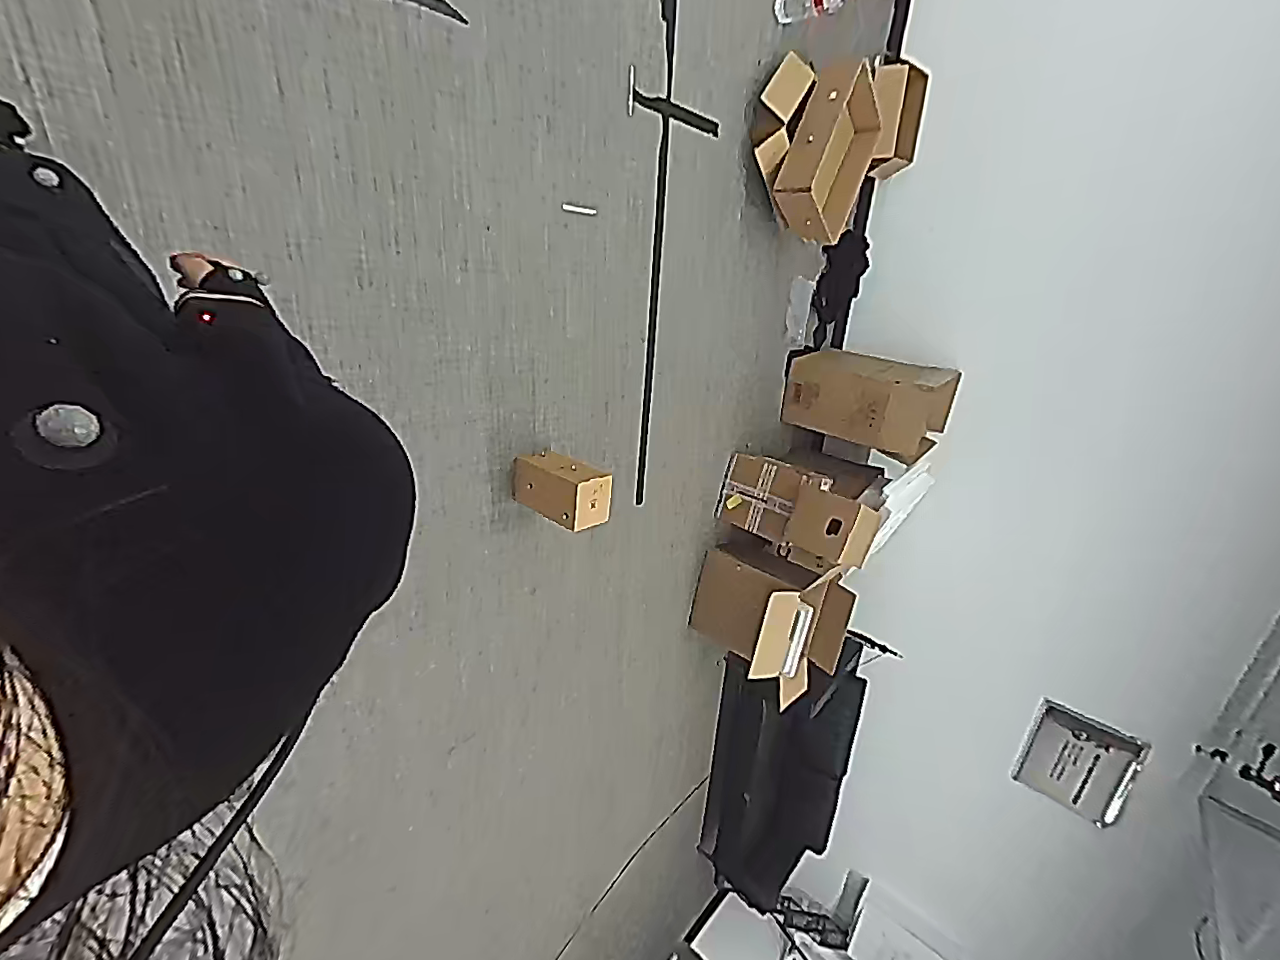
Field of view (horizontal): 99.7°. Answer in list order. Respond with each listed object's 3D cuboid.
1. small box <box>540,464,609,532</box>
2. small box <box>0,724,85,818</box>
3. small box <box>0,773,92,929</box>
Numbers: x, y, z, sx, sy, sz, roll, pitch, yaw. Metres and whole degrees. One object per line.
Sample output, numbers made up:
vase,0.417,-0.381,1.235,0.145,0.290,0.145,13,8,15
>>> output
small box,-0.231,0.057,1.865,0.168,0.176,0.179,-16,118,-48
small box,-1.287,0.634,1.102,0.168,0.176,0.179,-24,126,-42
small box,-1.168,0.684,1.000,0.168,0.176,0.179,-23,125,-43
